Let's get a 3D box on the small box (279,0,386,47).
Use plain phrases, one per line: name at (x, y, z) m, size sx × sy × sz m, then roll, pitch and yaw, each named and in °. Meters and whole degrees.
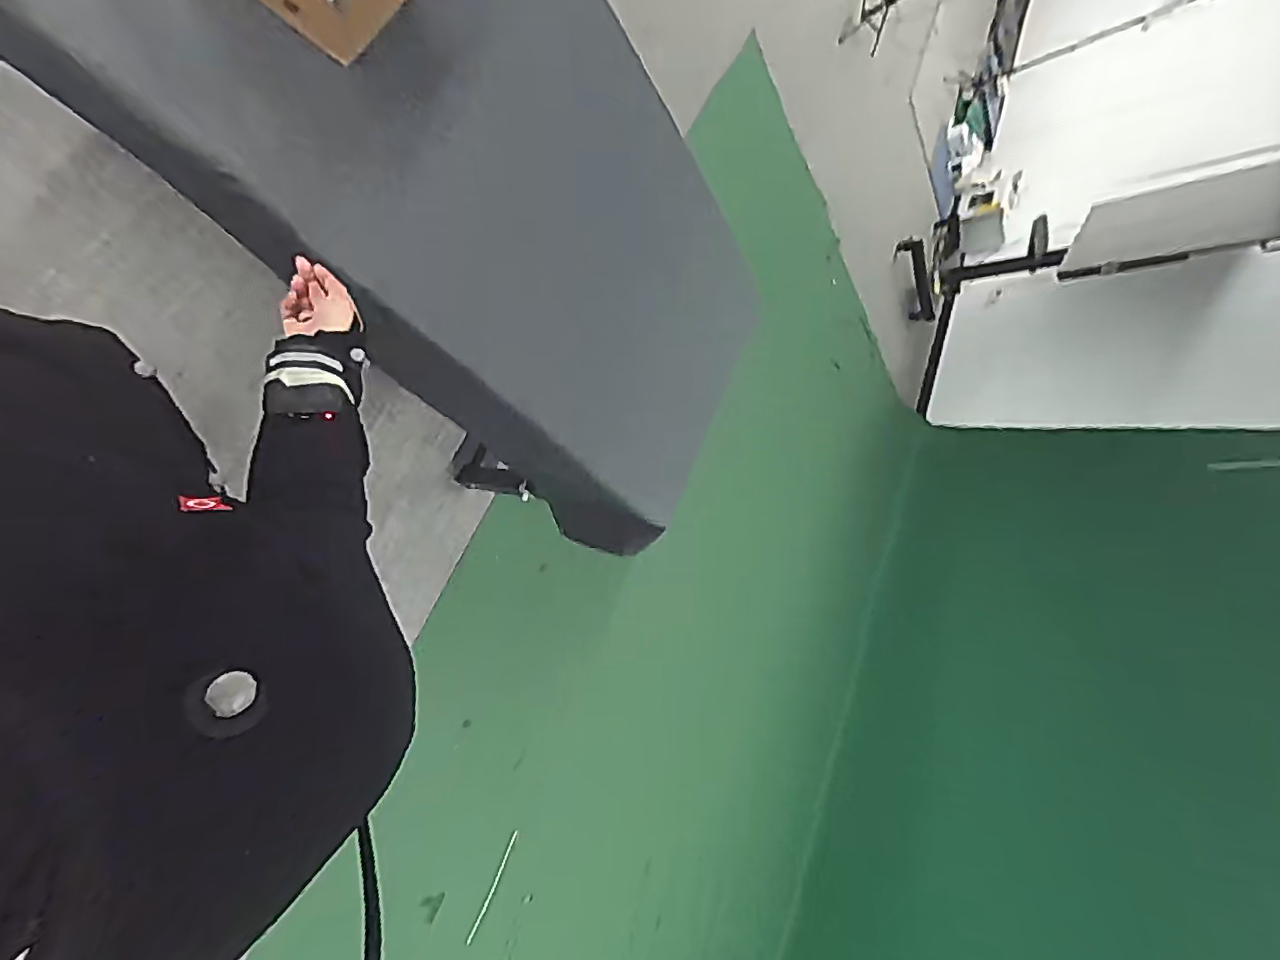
small box at (-0.286, -0.541, 0.470) m, size 0.168 × 0.176 × 0.179 m, roll 21°, pitch 78°, yaw -49°
